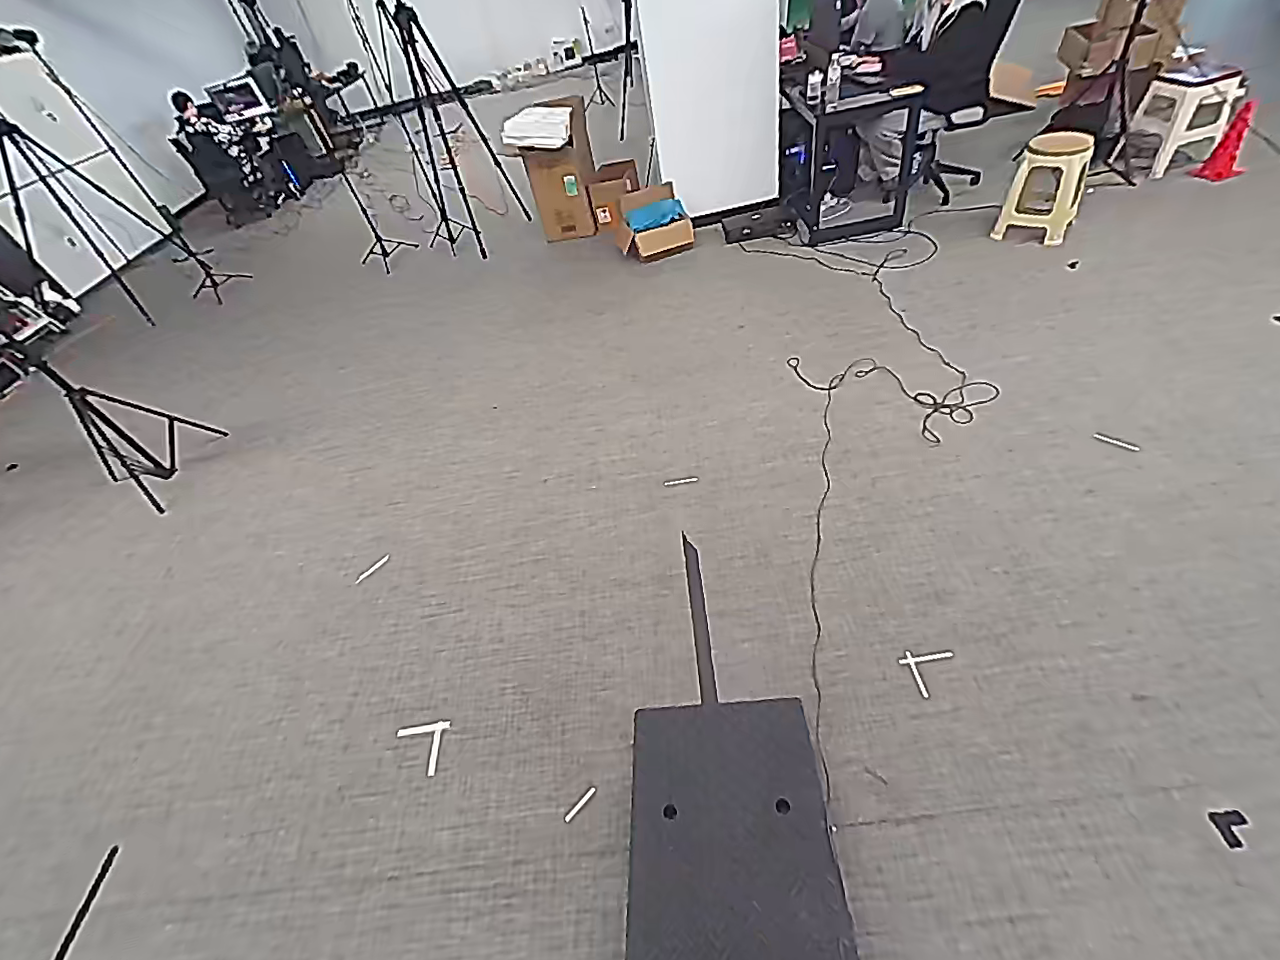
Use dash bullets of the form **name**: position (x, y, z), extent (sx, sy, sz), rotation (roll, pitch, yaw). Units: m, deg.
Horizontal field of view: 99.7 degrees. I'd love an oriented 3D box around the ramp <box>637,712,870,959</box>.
- **ramp**: position (0.232, 0.990, 1.181), extent (0.509, 0.206, 0.991), rotation (-11, 43, 7)
